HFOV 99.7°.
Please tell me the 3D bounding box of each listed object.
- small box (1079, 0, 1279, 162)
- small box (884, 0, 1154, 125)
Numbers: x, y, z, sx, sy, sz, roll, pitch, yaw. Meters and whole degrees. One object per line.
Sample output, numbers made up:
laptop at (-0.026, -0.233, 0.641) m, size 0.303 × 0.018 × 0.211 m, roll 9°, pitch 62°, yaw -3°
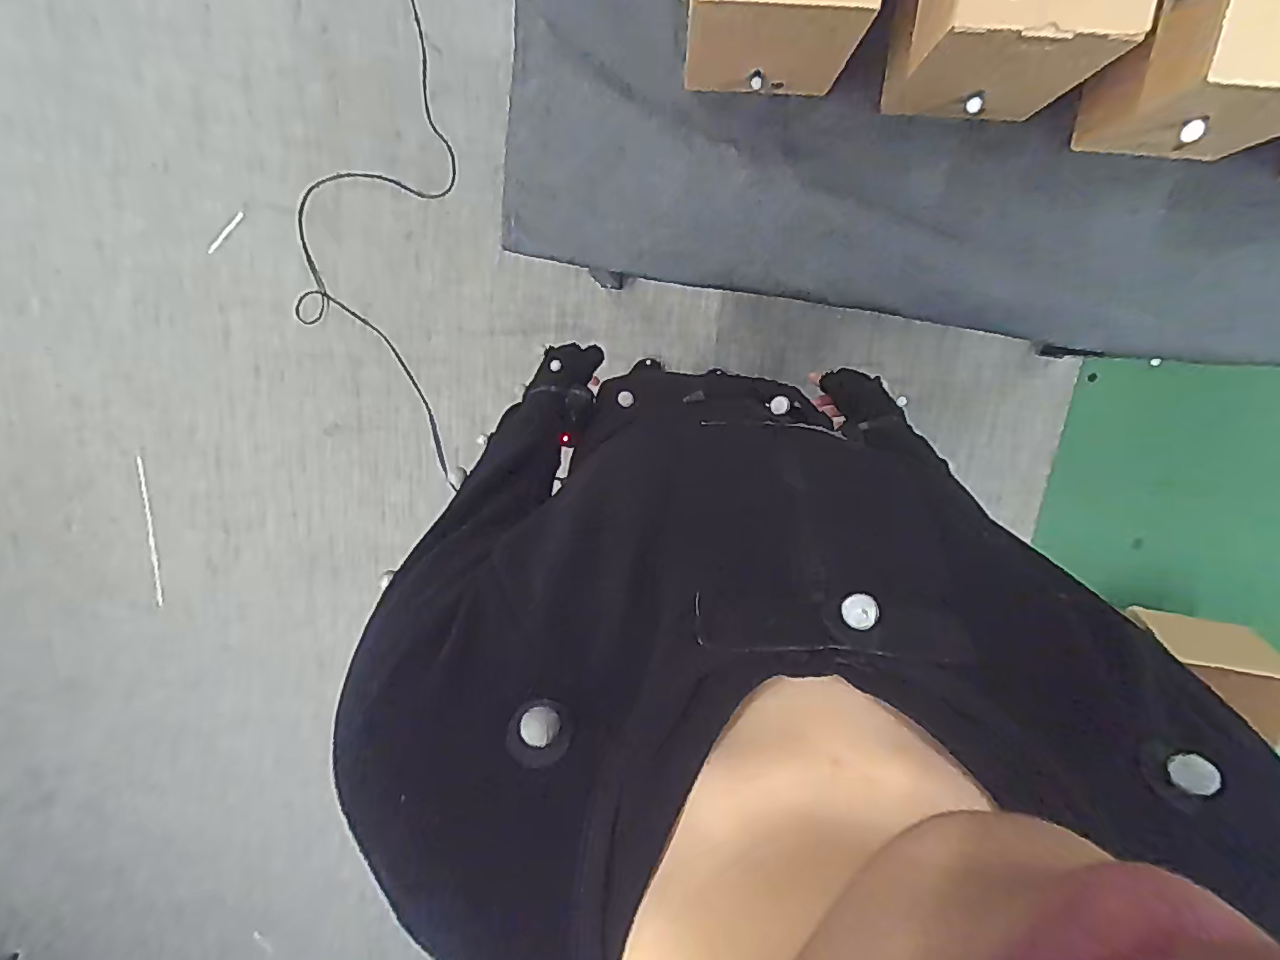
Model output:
small box at (0.577, -0.431, 0.521) m, size 0.168 × 0.176 × 0.179 m, roll 5°, pitch 102°, yaw 2°
small box at (0.357, -0.479, 0.520) m, size 0.168 × 0.176 × 0.179 m, roll 5°, pitch 103°, yaw 2°
